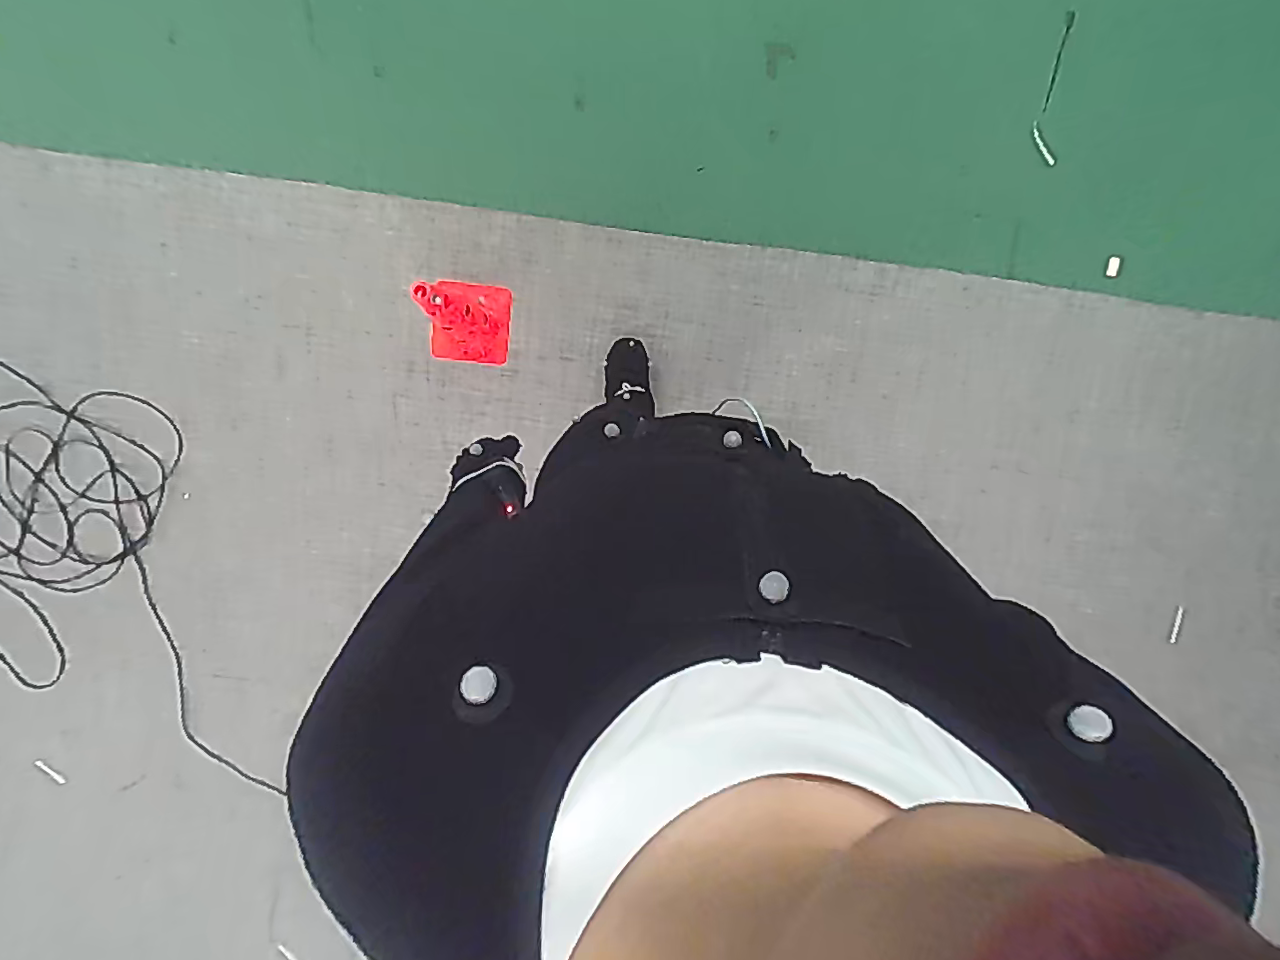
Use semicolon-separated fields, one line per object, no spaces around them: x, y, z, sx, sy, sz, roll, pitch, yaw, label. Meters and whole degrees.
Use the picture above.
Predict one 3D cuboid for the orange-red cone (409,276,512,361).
-0.432;-0.393;1.228;0.198;0.360;0.199;7;98;-1;orange-red cone
